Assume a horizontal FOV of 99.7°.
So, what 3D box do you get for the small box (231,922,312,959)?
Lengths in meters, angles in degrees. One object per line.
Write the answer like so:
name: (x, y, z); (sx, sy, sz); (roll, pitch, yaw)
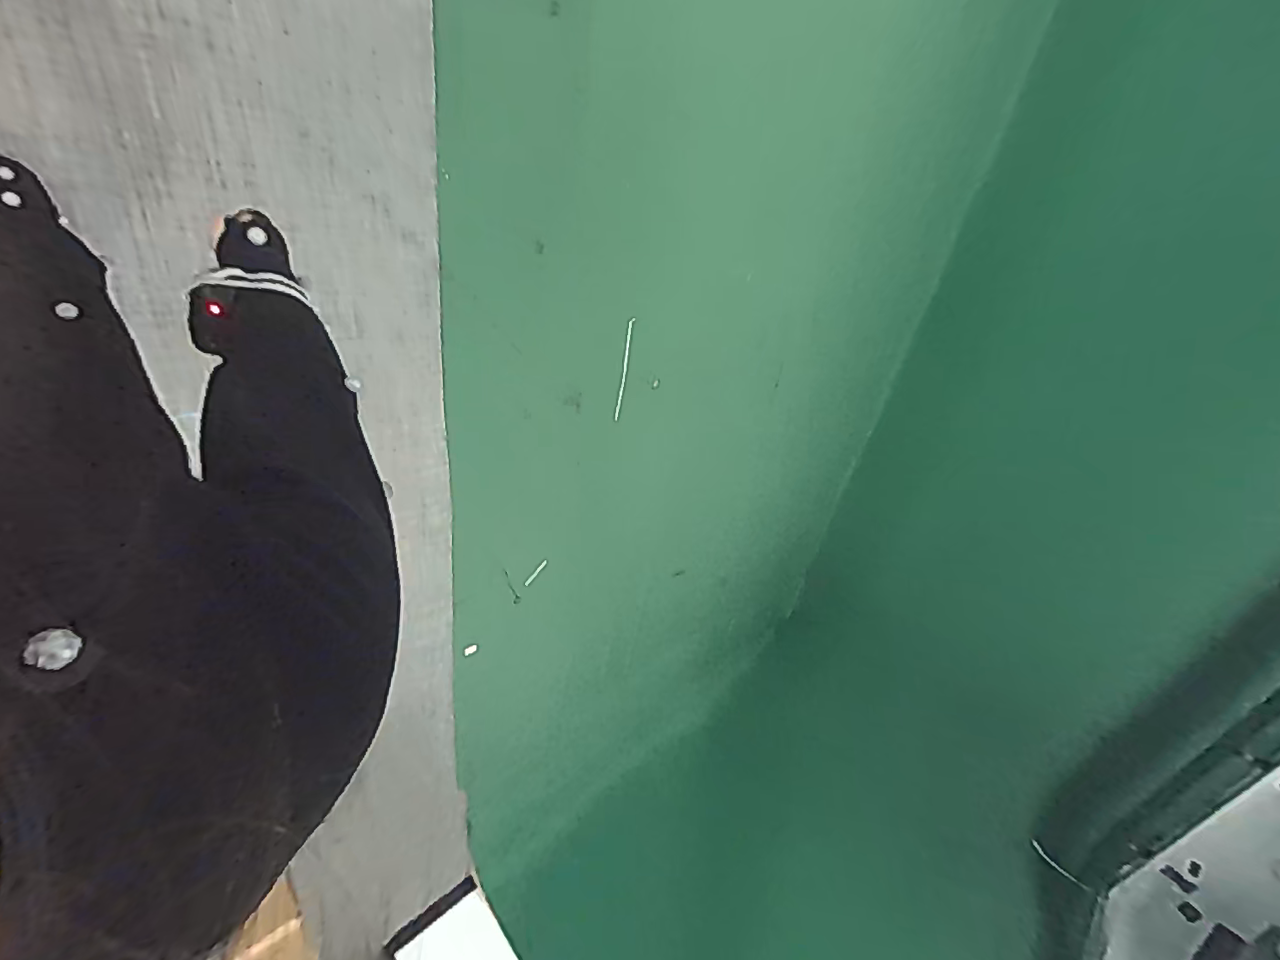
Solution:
small box: (-0.927, 1.285, 1.371); (0.168, 0.176, 0.179); (-18, 130, -39)
